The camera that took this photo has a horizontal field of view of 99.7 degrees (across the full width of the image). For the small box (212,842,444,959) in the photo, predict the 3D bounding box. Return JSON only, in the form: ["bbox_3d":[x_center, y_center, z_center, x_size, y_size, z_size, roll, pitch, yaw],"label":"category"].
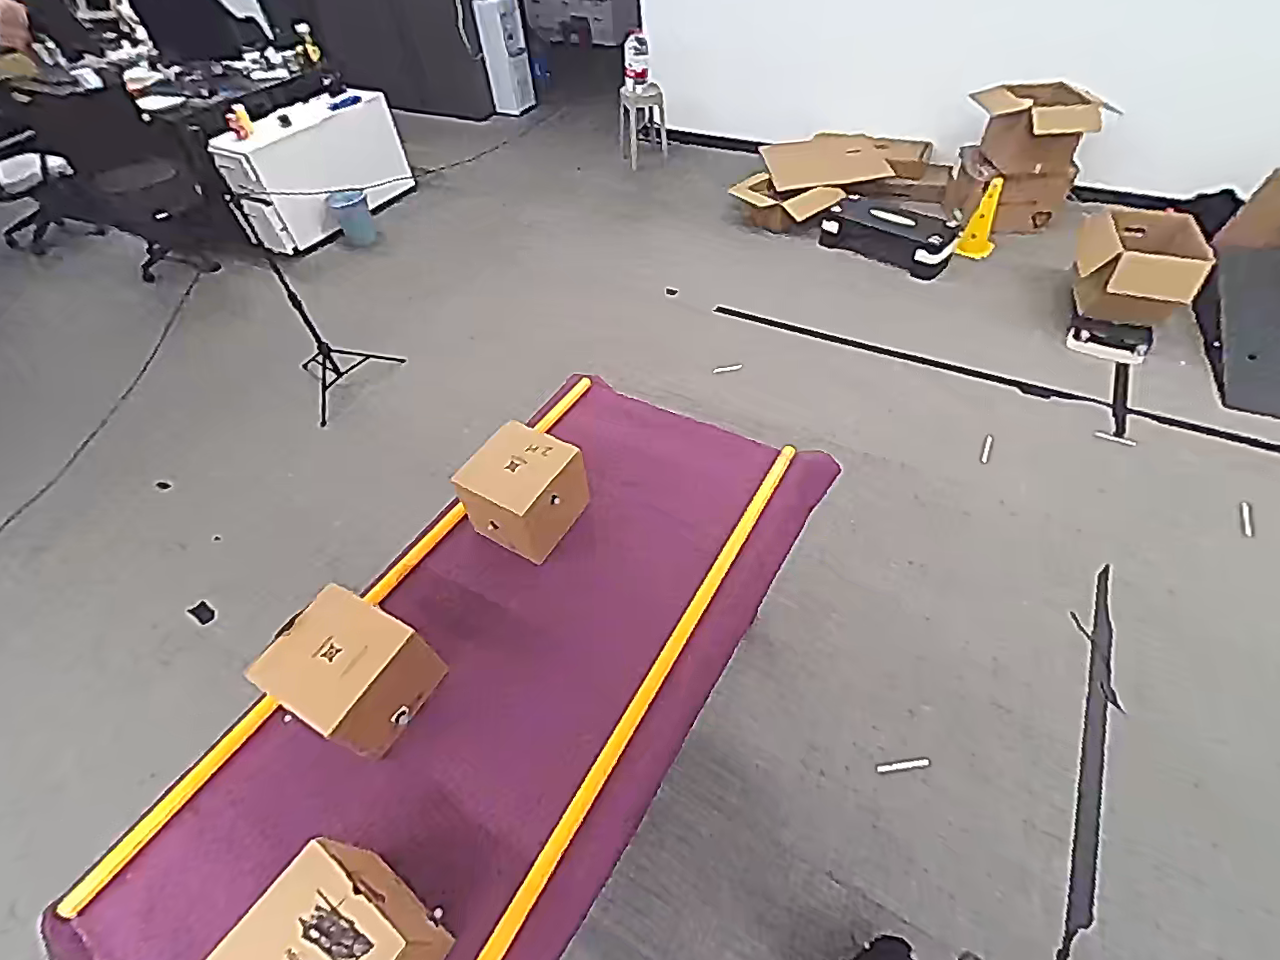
[{"bbox_3d":[-0.346,0.553,0.606,0.168,0.176,0.179,26,57,23],"label":"small box"}]

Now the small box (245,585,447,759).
[{"bbox_3d":[-0.434,0.297,0.826,0.179,0.176,0.168,21,56,19],"label":"small box"}]

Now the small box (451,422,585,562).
[{"bbox_3d":[-0.220,0.026,1.032,0.168,0.176,0.179,24,56,20],"label":"small box"}]
